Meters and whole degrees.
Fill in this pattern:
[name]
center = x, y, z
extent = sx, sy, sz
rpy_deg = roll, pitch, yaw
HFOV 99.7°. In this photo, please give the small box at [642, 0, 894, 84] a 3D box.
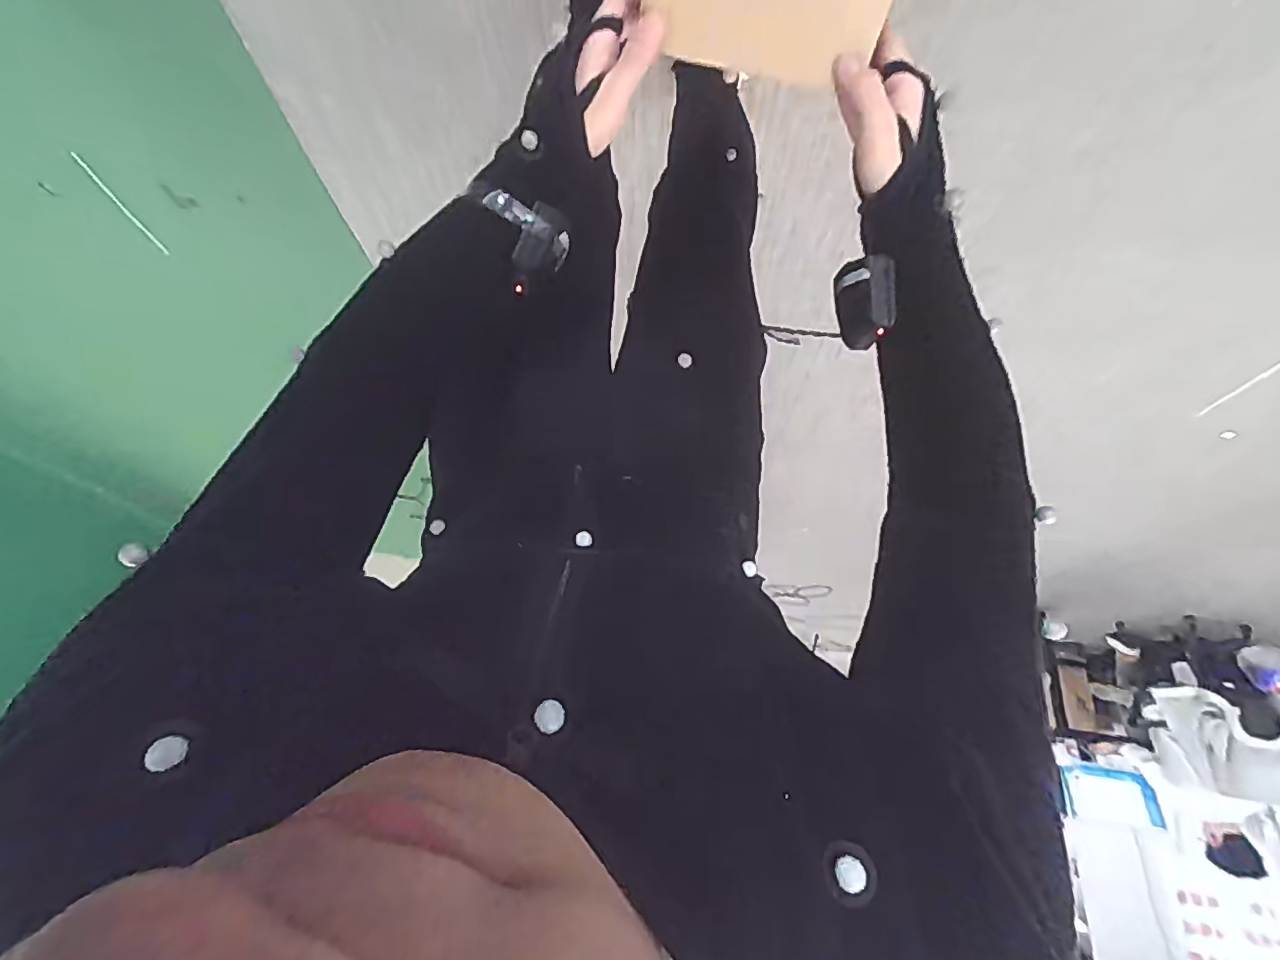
[small box]
center = 0.110, -0.429, 0.410
extent = 0.179, 0.176, 0.168
rpy_deg = 12, 135, 0
